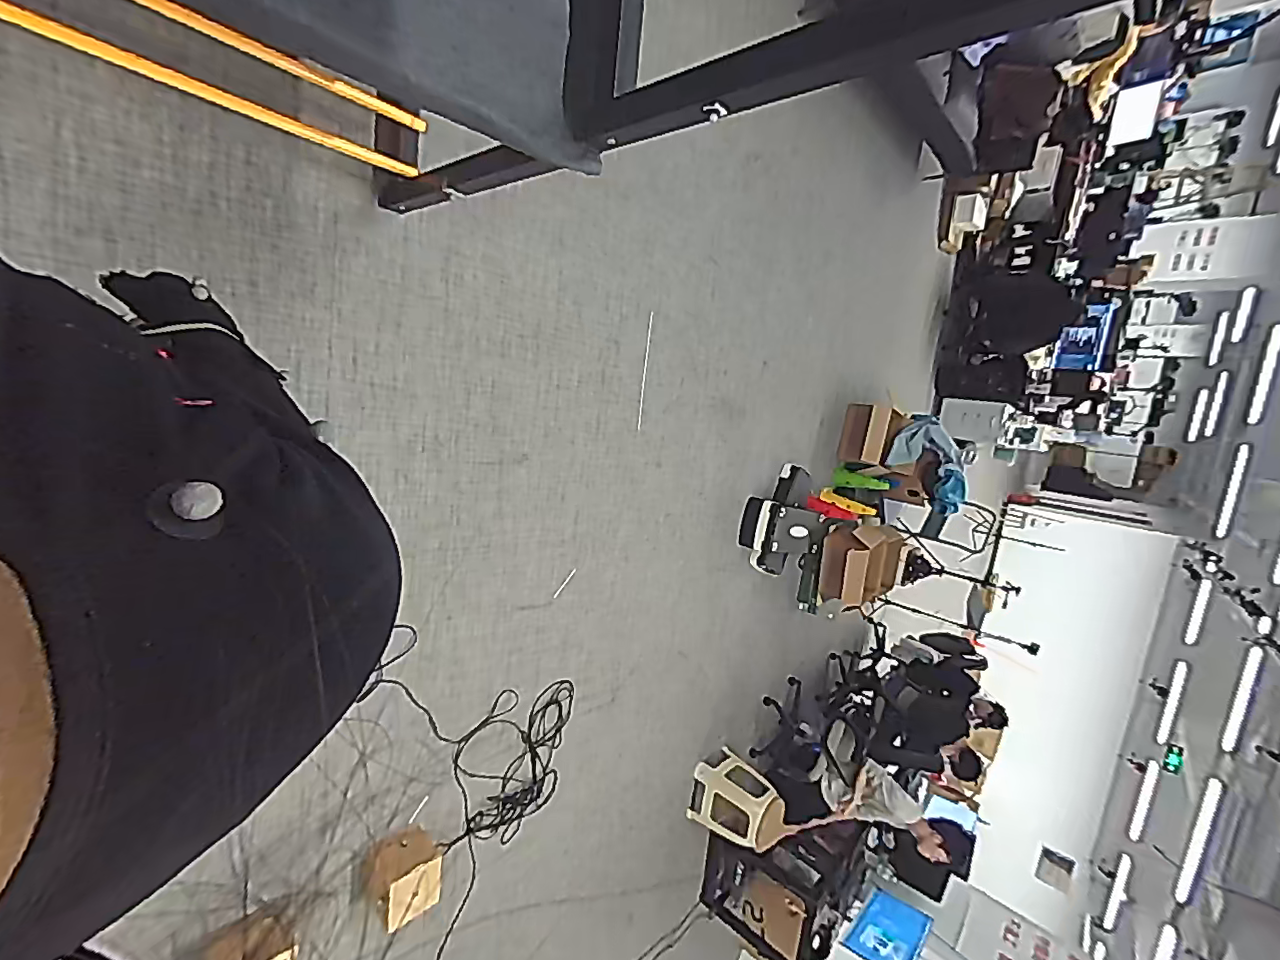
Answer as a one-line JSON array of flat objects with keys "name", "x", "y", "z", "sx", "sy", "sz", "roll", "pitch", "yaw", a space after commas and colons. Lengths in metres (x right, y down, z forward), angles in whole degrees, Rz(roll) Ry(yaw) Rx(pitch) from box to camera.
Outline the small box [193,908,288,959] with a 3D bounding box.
[{"name": "small box", "x": -1.045, "y": 1.267, "z": 1.403, "sx": 0.168, "sy": 0.176, "sz": 0.179, "roll": 4, "pitch": 98, "yaw": -50}]

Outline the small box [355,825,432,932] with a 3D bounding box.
[{"name": "small box", "x": -0.781, "y": 1.247, "z": 1.707, "sx": 0.168, "sy": 0.176, "sz": 0.179, "roll": -4, "pitch": 103, "yaw": -49}]
